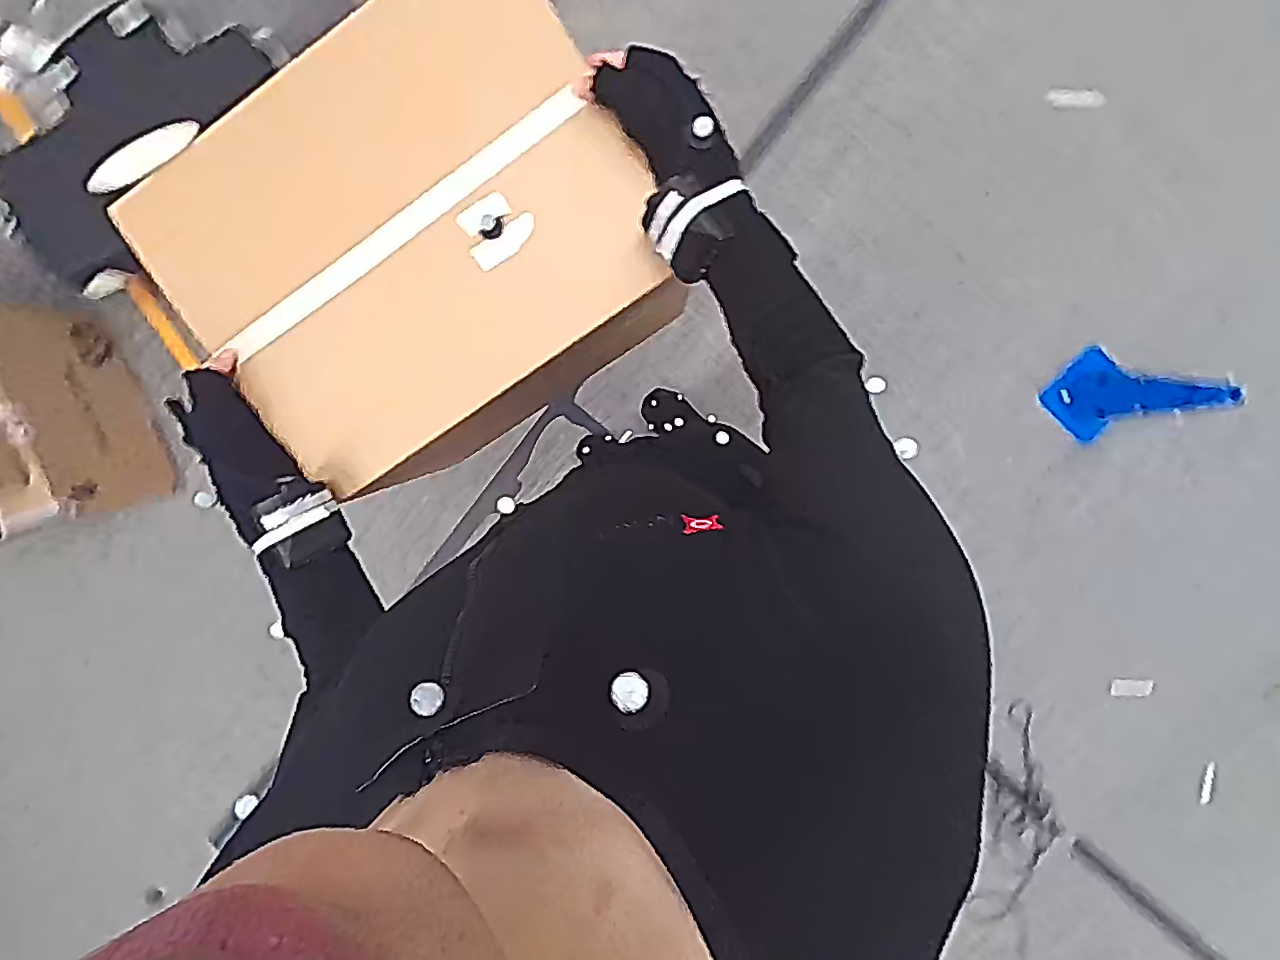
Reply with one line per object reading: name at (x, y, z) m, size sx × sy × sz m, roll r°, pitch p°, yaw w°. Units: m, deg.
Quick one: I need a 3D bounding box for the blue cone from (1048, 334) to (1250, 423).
blue cone at (1.191, -0.241, 1.260) m, size 0.193 × 0.380 × 0.192 m, roll 42°, pitch 96°, yaw -6°

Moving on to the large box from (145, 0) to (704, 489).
large box at (-0.186, -0.240, 0.613) m, size 0.408 × 0.320 × 0.320 m, roll -32°, pitch 96°, yaw 5°
